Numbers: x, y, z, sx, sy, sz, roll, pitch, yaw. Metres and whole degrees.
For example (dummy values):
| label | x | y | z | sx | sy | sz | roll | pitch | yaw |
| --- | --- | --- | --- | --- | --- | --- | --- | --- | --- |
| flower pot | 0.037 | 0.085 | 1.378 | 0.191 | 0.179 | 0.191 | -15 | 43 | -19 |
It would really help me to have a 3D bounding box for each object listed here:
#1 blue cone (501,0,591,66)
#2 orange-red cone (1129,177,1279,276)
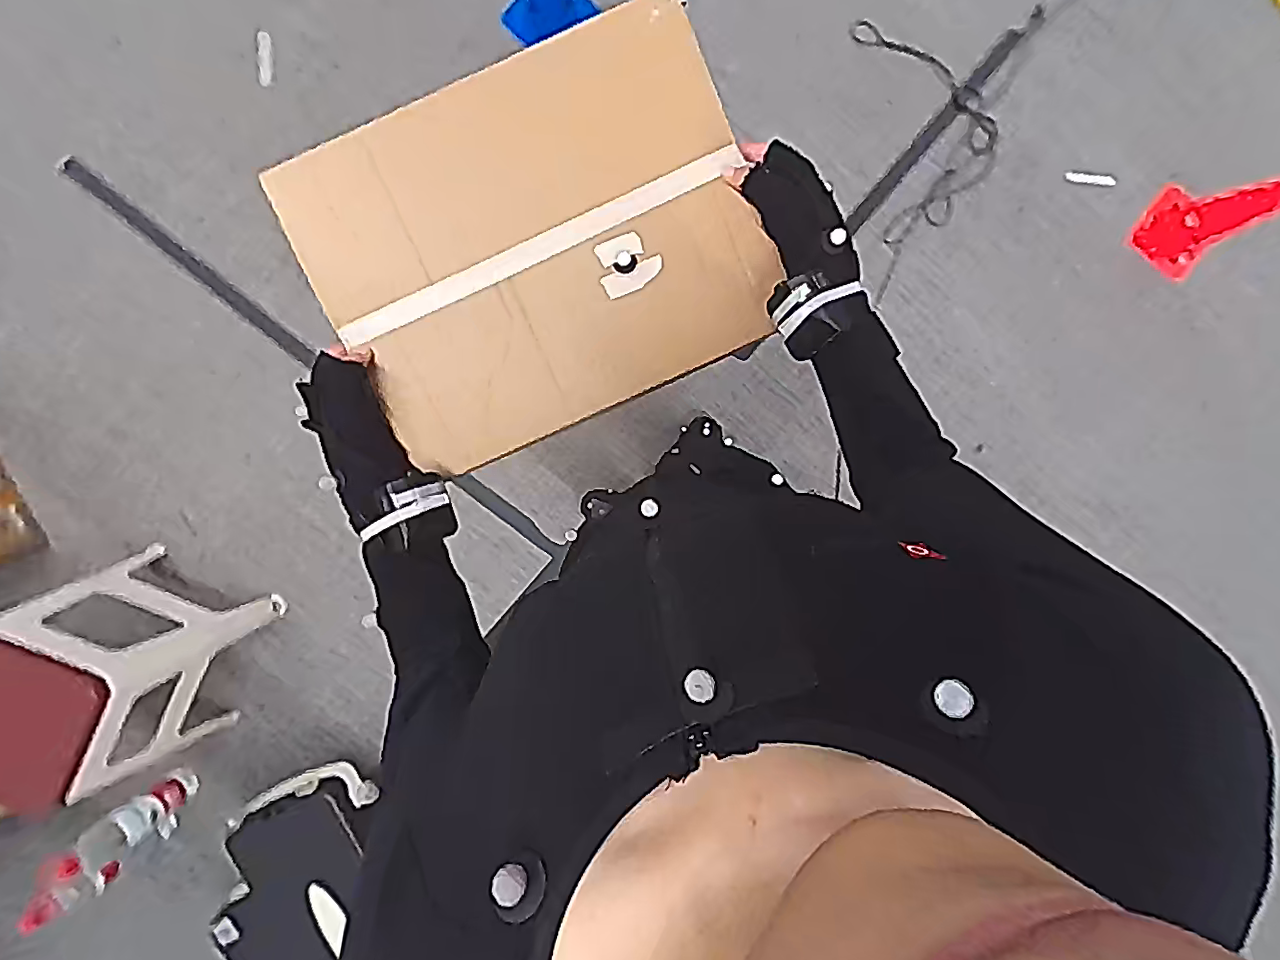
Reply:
| label | x | y | z | sx | sy | sz | roll | pitch | yaw |
| --- | --- | --- | --- | --- | --- | --- | --- | --- | --- |
| blue cone | -0.234 | -1.173 | 1.222 | 0.192 | 0.380 | 0.193 | 43 | 91 | -4 |
| orange-red cone | 1.484 | -0.683 | 1.327 | 0.198 | 0.360 | 0.199 | 37 | 90 | -6 |
